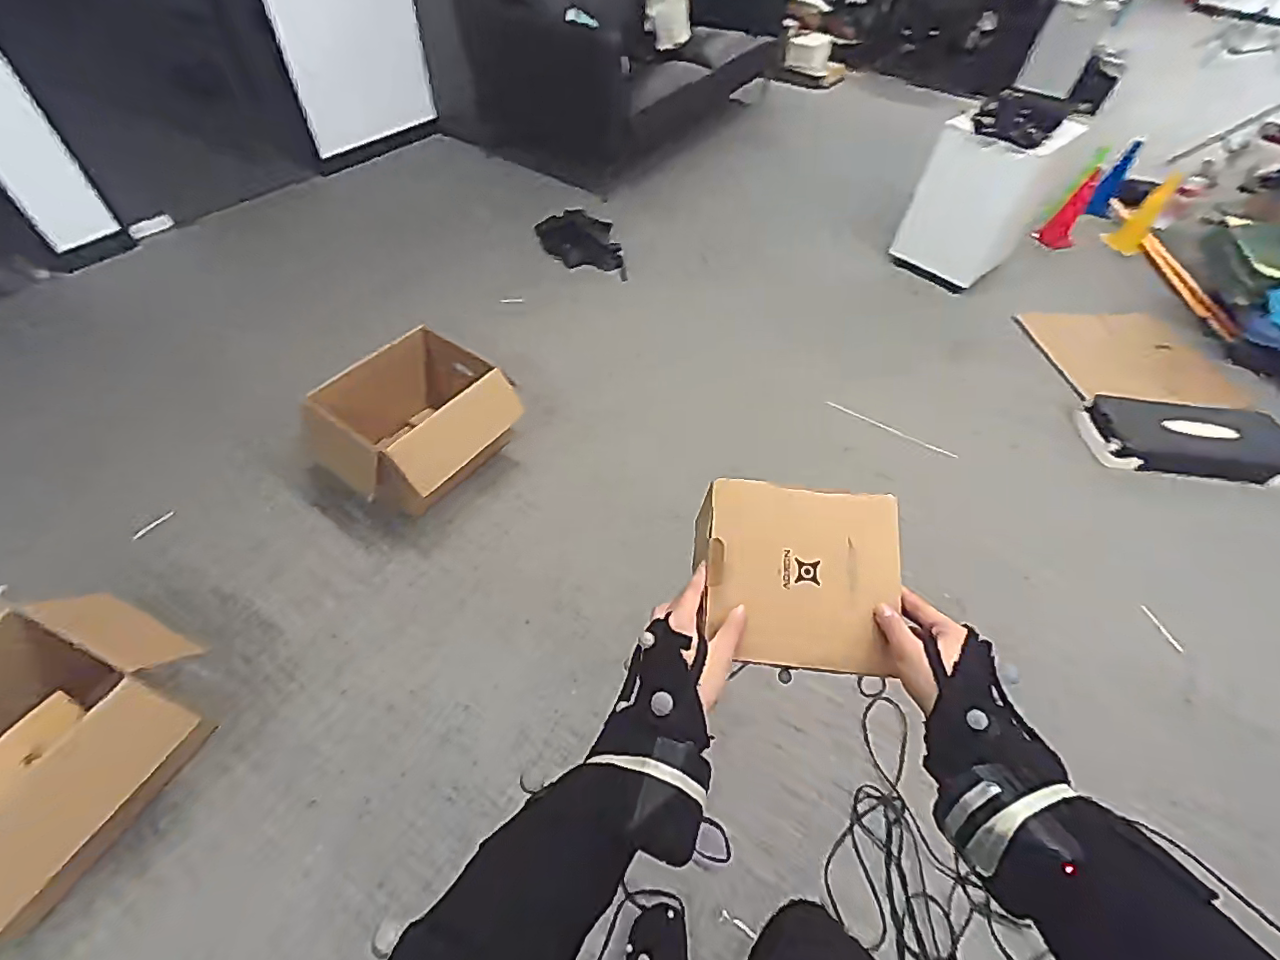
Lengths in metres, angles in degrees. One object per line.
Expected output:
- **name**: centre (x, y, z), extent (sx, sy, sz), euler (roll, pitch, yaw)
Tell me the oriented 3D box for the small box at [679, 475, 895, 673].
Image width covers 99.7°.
- **small box**: centre (0.136, 0.104, 0.559), extent (0.179, 0.176, 0.168), euler (5, 72, 0)
